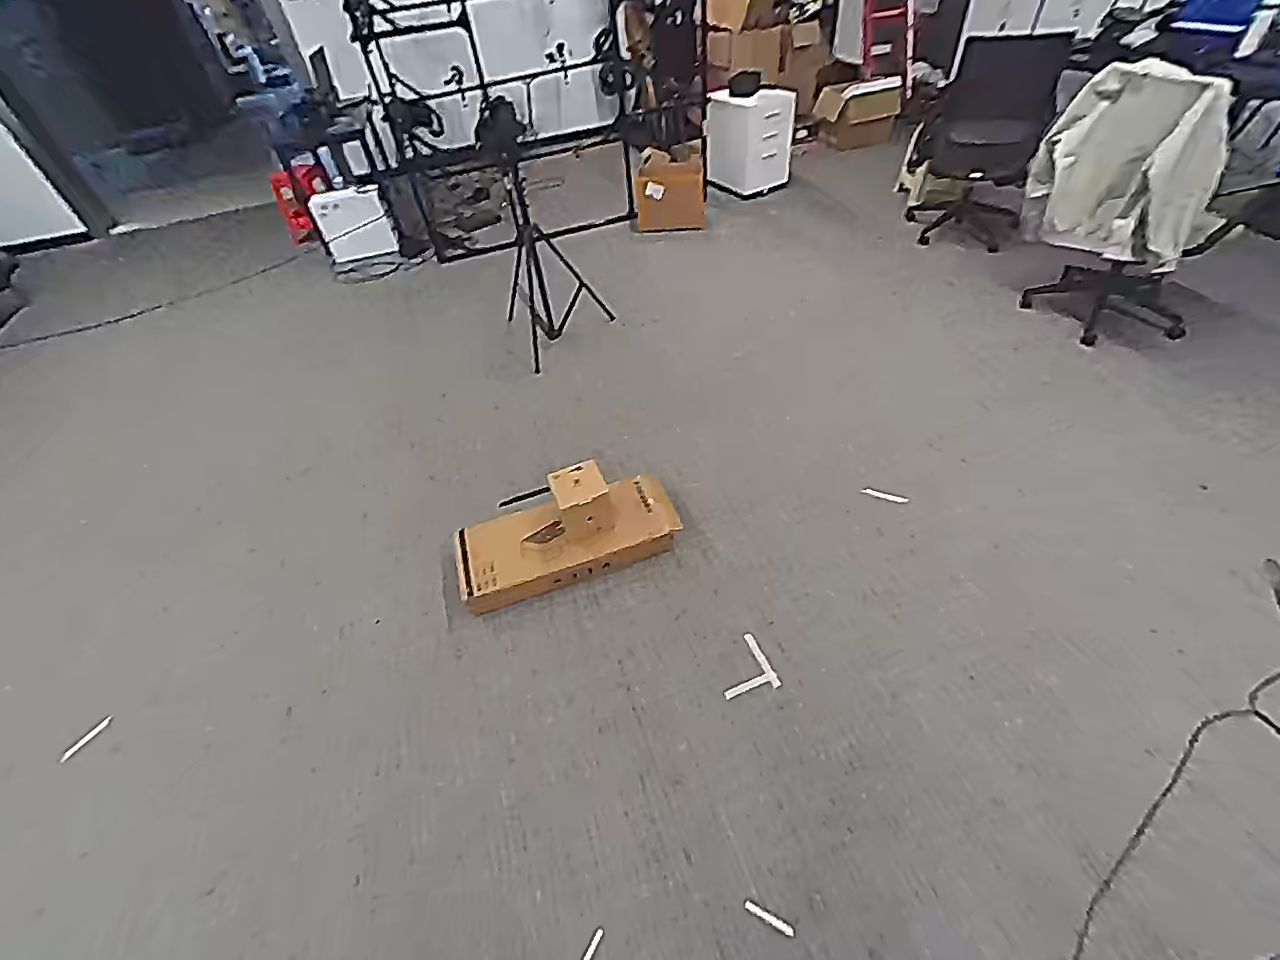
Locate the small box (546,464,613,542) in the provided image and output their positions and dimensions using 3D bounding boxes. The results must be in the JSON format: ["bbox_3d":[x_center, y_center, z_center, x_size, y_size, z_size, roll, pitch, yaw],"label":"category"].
[{"bbox_3d":[-0.198,0.084,1.798,0.168,0.176,0.179,-19,46,-12],"label":"small box"}]
